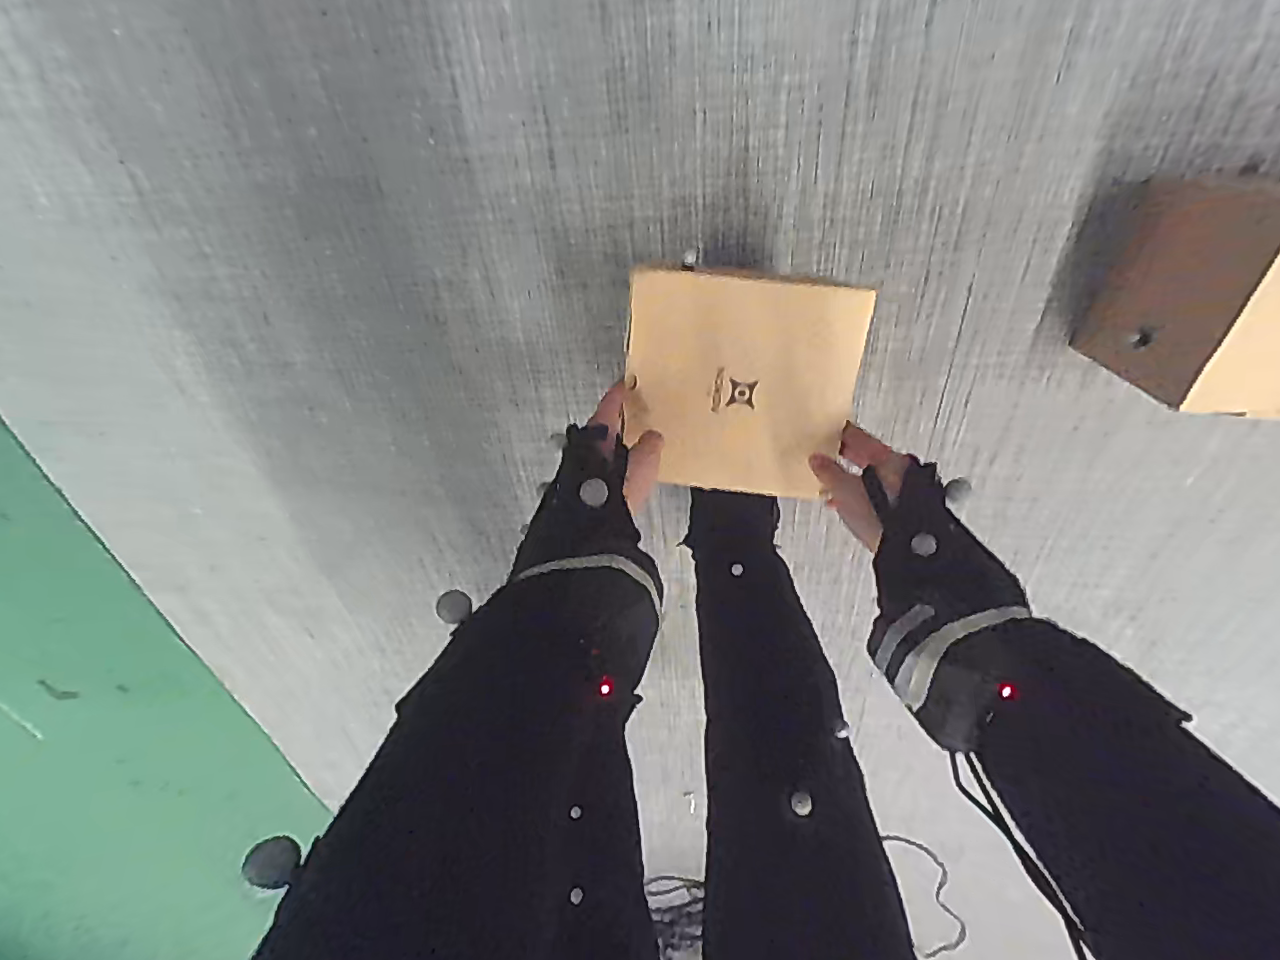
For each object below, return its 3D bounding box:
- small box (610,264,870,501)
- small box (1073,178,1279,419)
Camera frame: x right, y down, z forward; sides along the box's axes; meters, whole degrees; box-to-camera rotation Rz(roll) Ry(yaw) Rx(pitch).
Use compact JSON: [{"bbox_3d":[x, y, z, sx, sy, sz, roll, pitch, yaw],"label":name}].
[{"bbox_3d":[0.076,-0.097,0.485,0.179,0.176,0.168,7,113,3],"label":"small box"},{"bbox_3d":[0.560,-0.172,0.504,0.168,0.176,0.179,2,123,2],"label":"small box"}]
